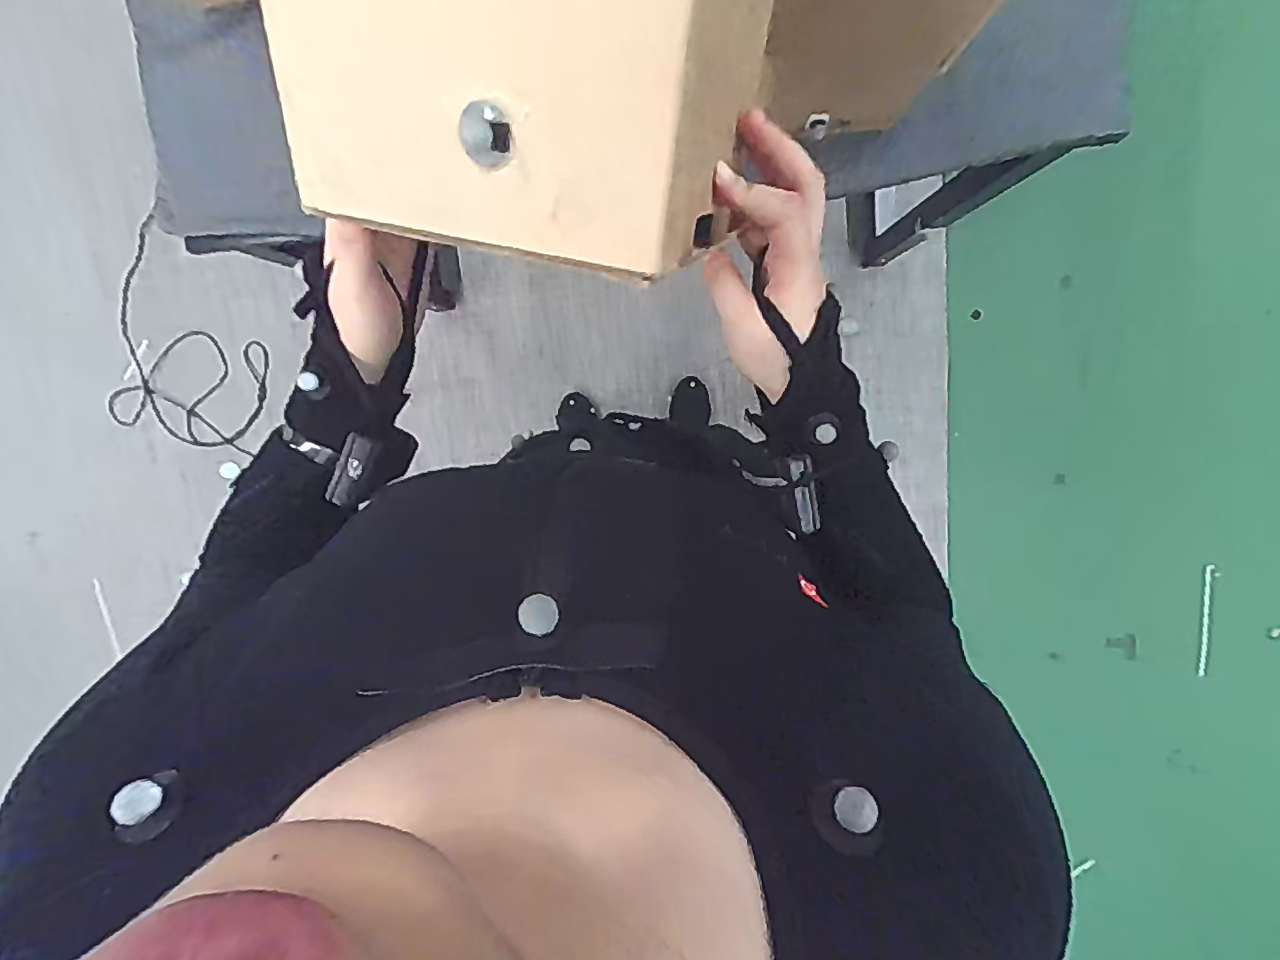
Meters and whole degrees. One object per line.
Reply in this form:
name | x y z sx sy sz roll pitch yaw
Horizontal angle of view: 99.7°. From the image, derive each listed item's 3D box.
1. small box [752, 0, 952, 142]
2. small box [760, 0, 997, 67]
small box | 0.211 -0.492 0.566 0.168 0.176 0.179 -3 99 6
small box | 0.199 -0.451 0.409 0.179 0.176 0.168 8 99 4
